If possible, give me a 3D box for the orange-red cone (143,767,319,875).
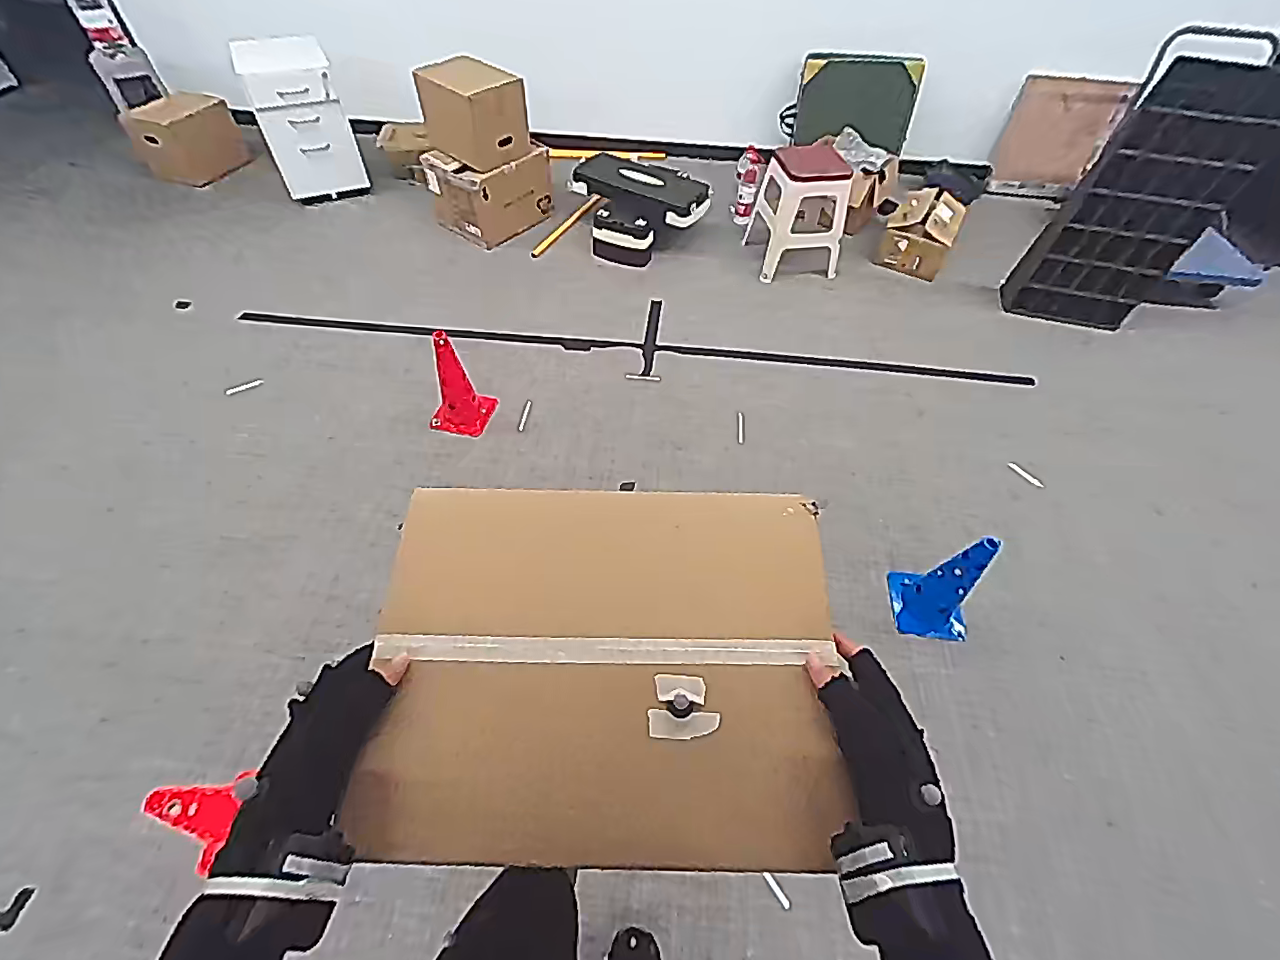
[{"bbox_3d":[-0.843,0.659,1.077,0.198,0.360,0.199,3,54,1],"label":"orange-red cone"}]

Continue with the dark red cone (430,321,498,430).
[{"bbox_3d":[-0.632,-0.368,1.847,0.201,0.394,0.202,11,53,5],"label":"dark red cone"}]

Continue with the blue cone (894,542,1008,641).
[{"bbox_3d":[0.861,0.277,1.466,0.192,0.380,0.193,9,53,3],"label":"blue cone"}]

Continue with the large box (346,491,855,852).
[{"bbox_3d":[-0.032,0.220,0.617,0.408,0.320,0.320,1,62,0],"label":"large box"}]
